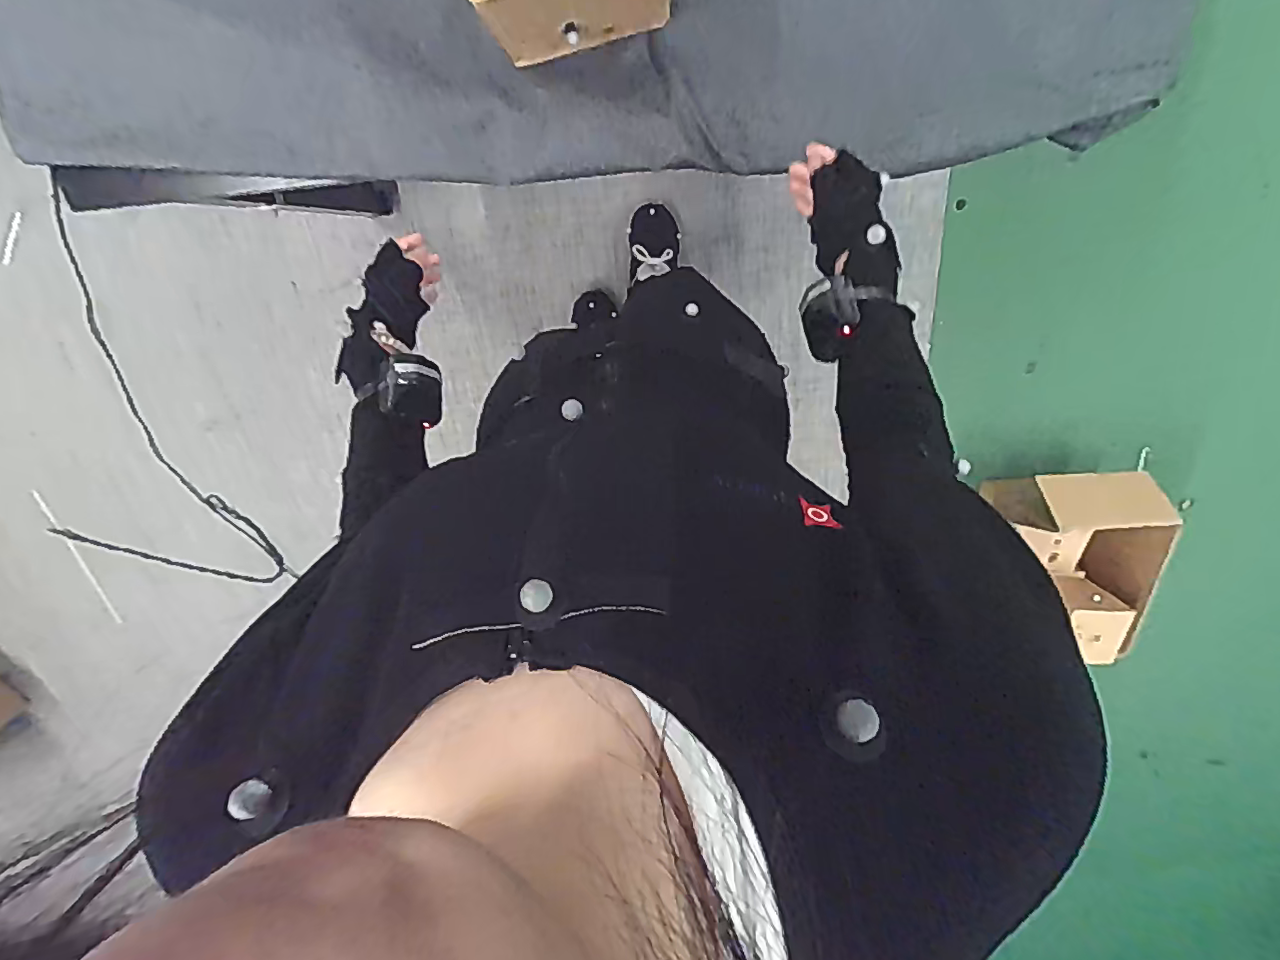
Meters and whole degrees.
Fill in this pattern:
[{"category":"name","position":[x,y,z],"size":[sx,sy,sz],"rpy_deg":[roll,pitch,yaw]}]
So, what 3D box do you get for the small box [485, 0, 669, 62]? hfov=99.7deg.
[{"category":"small box","position":[-0.068,-0.495,0.451],"size":[0.168,0.176,0.179],"rpy_deg":[-12,114,4]}]
